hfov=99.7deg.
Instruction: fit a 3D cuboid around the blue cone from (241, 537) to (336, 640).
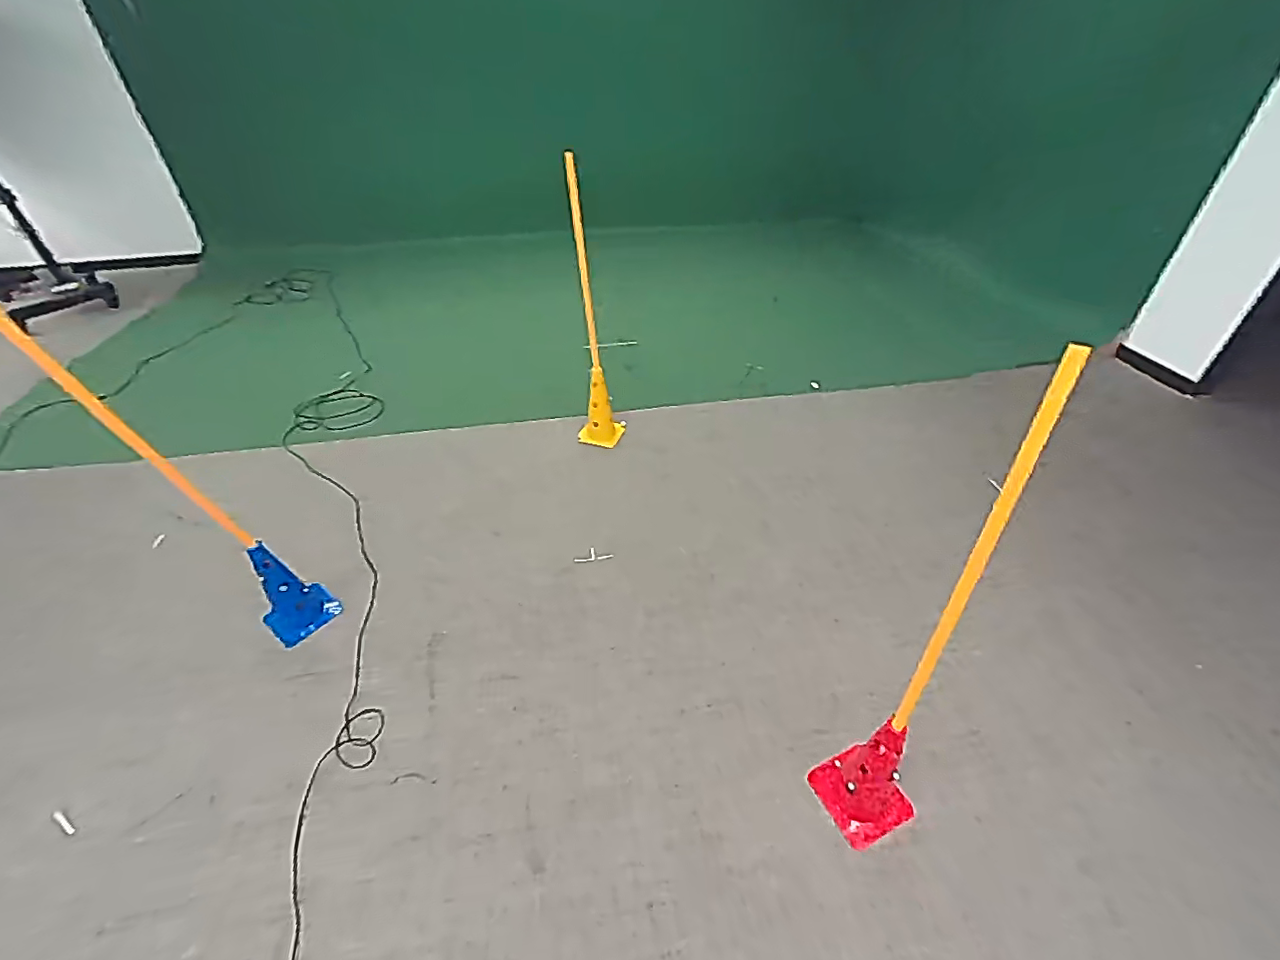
[{"bbox_3d":[-1.165,0.325,1.737,0.192,0.380,0.193,25,49,27],"label":"blue cone"}]
